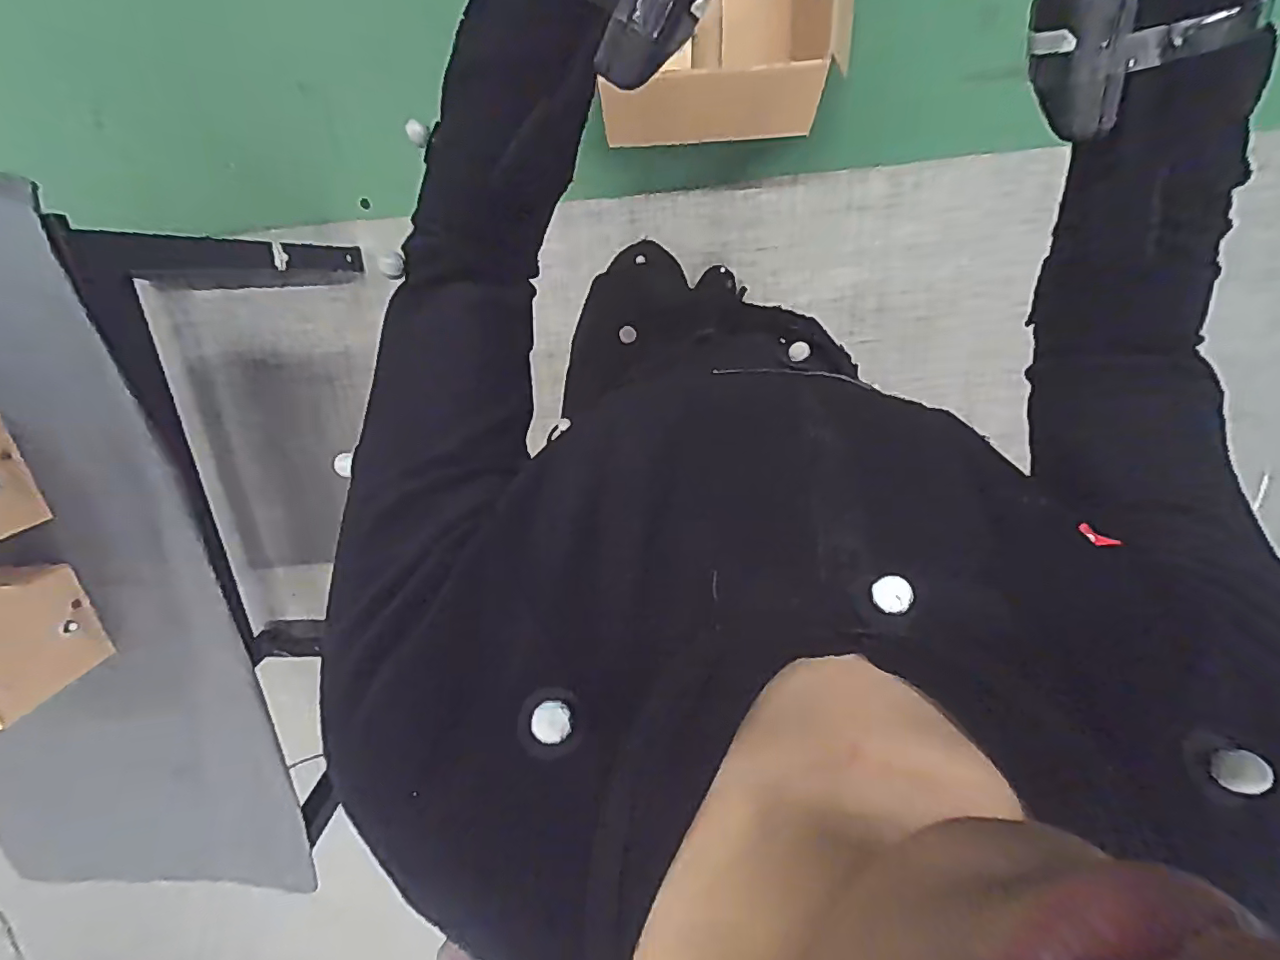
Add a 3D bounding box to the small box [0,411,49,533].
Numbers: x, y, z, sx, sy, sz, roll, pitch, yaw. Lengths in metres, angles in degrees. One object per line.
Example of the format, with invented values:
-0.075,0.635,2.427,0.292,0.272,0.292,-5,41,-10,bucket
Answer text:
-0.950,0.008,0.693,0.179,0.176,0.168,-3,111,3,small box
